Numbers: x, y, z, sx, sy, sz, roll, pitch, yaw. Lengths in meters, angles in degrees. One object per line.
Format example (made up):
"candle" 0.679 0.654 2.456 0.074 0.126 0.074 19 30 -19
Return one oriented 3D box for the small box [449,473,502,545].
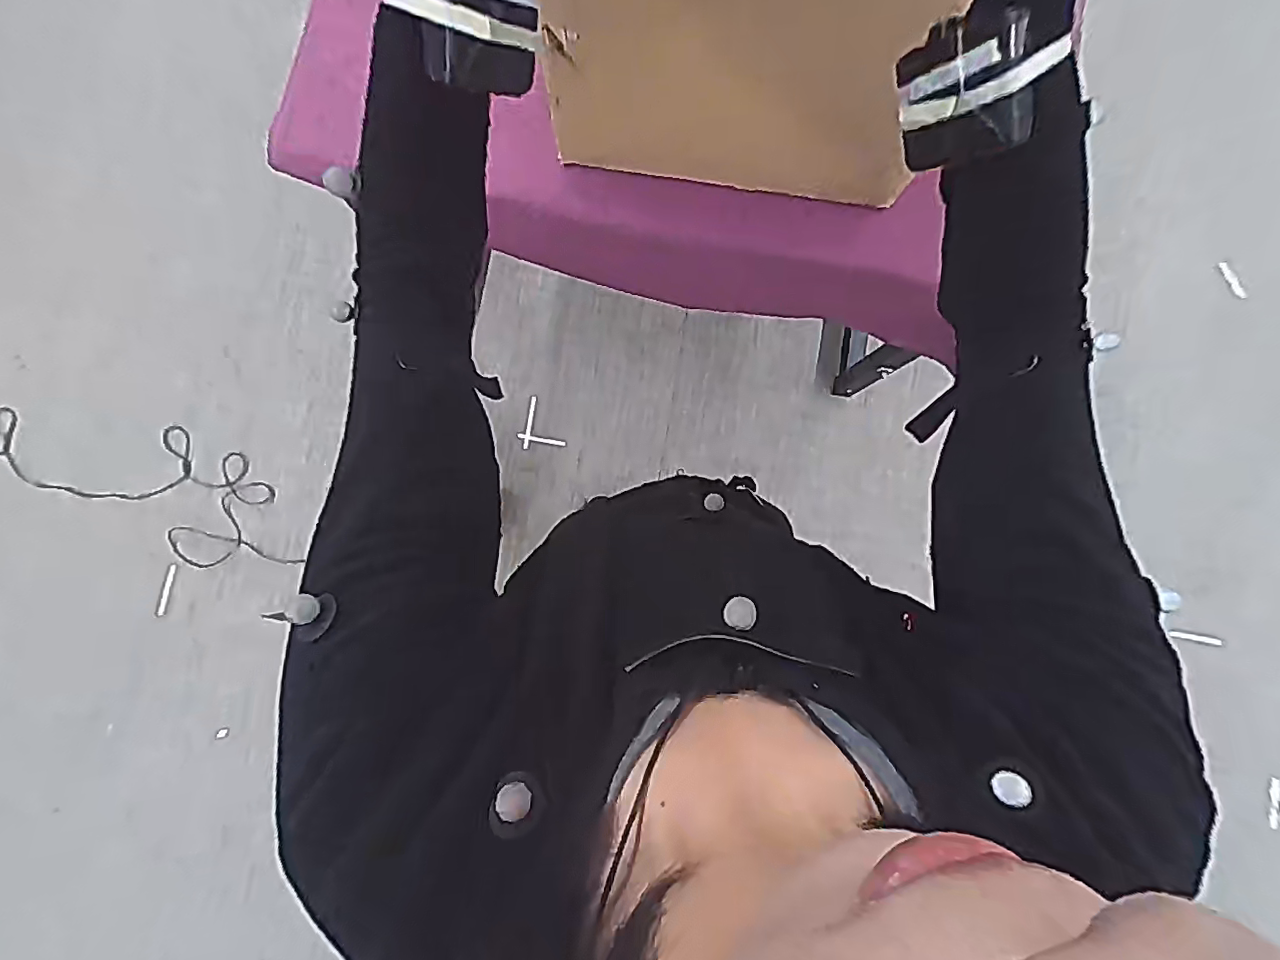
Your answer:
"small box" -0.480 0.072 1.420 0.179 0.176 0.168 13 85 -2
